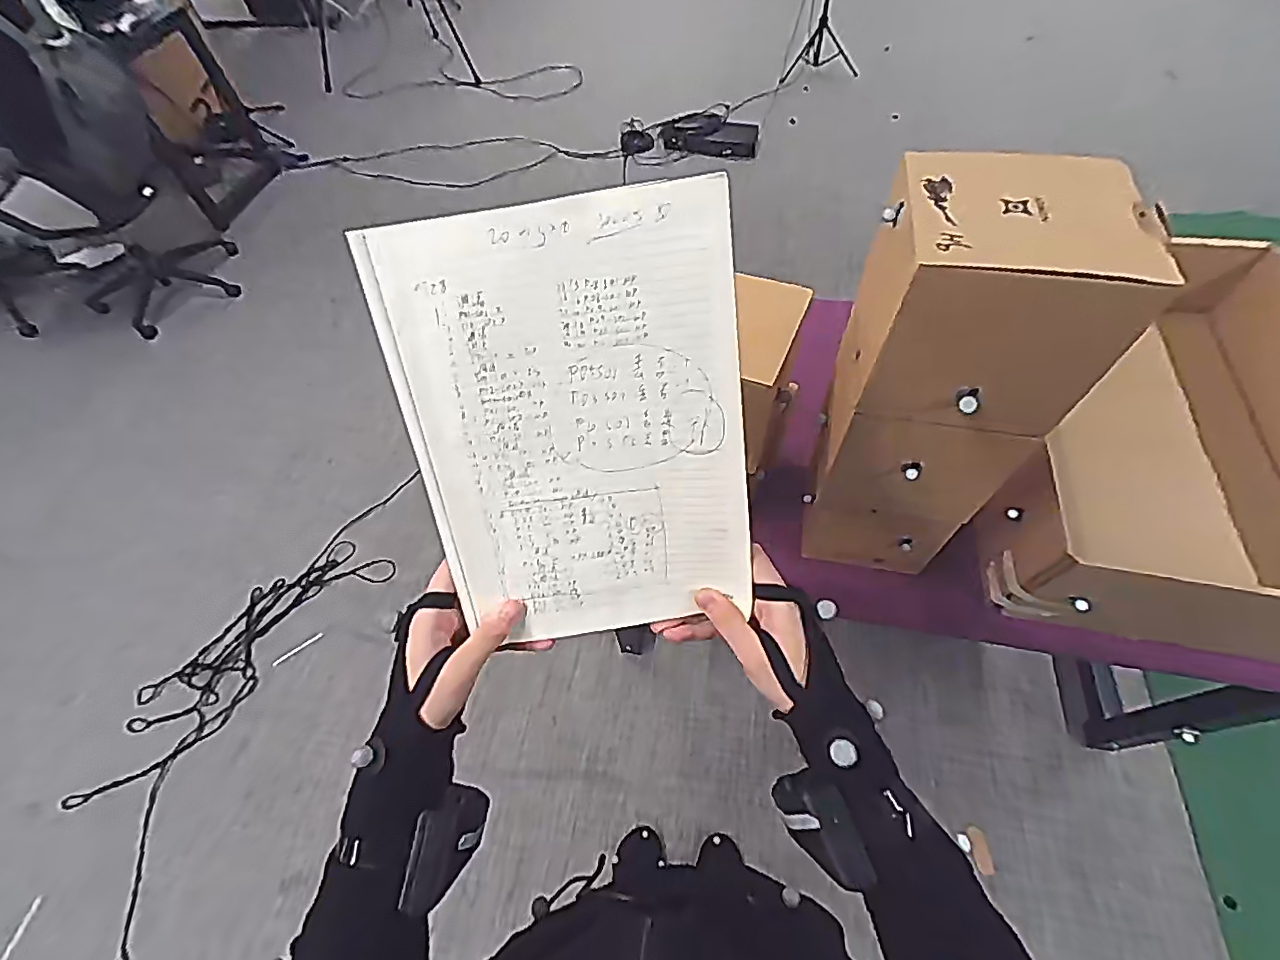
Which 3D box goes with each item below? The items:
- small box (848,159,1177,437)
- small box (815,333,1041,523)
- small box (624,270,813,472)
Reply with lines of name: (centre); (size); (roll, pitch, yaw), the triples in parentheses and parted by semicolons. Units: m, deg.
small box: (0.304, -0.158, 0.490); (0.179, 0.176, 0.168); (9, 56, 9)
small box: (0.313, -0.066, 0.626); (0.179, 0.176, 0.168); (9, 56, 10)
small box: (0.098, -0.132, 0.689); (0.179, 0.176, 0.168); (19, 60, 17)
